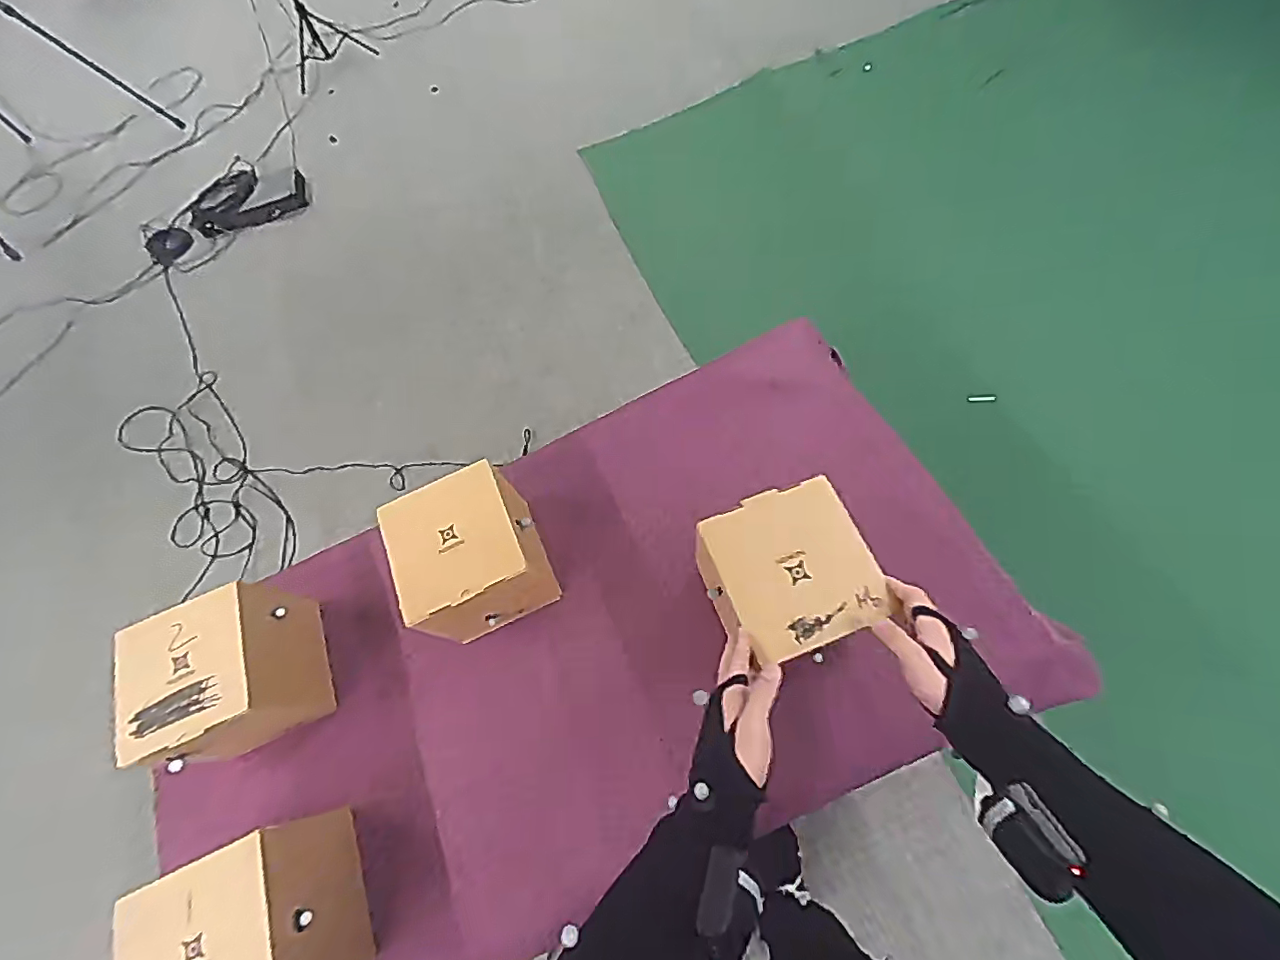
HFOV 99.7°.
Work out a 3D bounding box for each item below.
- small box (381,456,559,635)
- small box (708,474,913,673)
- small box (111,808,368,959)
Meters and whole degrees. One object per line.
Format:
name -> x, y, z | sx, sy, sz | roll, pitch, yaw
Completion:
small box -> -0.234, 0.101, 0.771 | 0.168, 0.176, 0.179 | -25, 67, -4
small box -> 0.189, 0.123, 0.668 | 0.168, 0.176, 0.179 | -20, 67, -3
small box -> -0.440, 0.509, 0.615 | 0.168, 0.176, 0.179 | -25, 65, -4
